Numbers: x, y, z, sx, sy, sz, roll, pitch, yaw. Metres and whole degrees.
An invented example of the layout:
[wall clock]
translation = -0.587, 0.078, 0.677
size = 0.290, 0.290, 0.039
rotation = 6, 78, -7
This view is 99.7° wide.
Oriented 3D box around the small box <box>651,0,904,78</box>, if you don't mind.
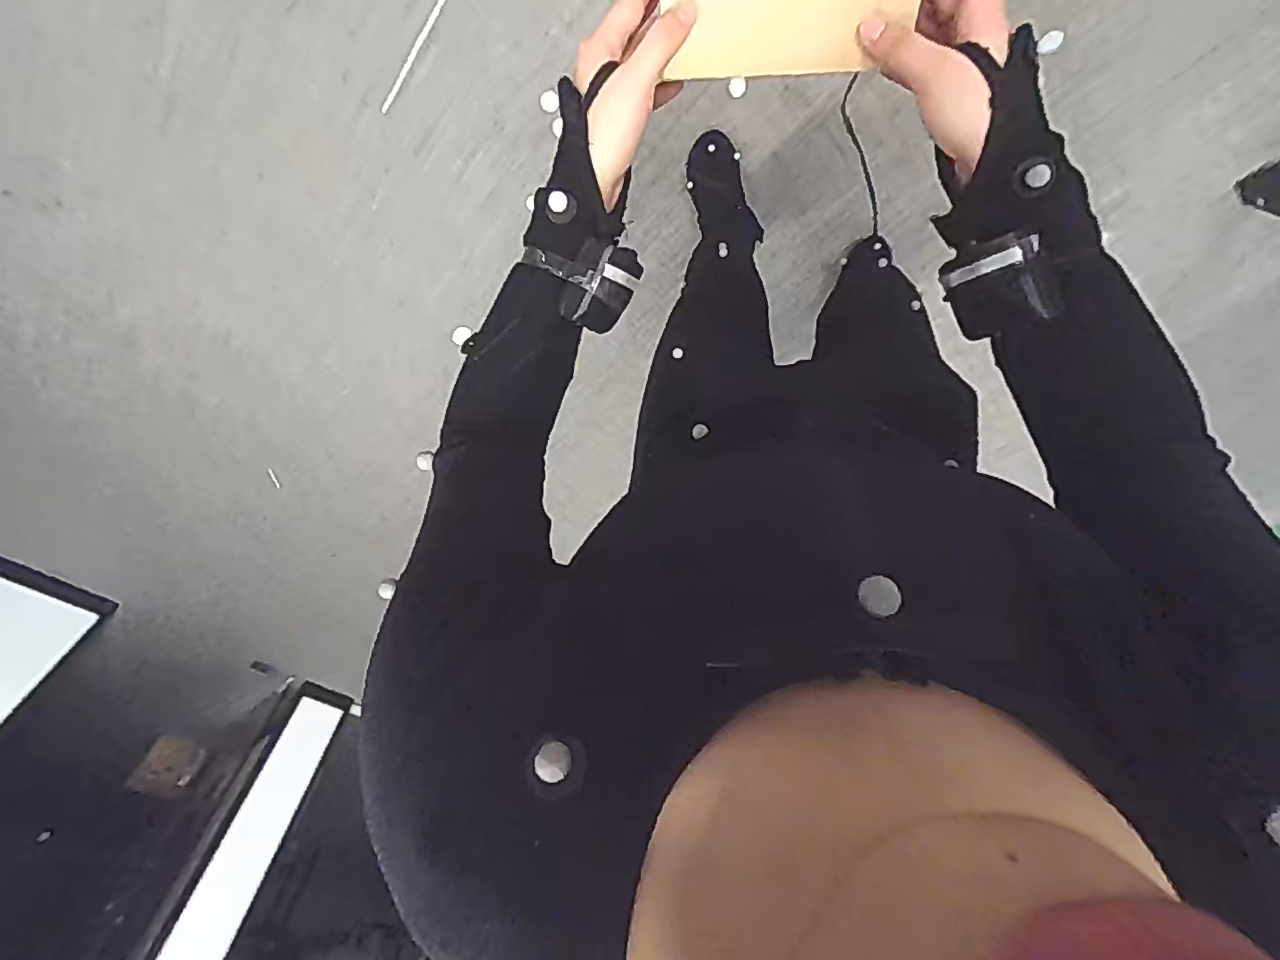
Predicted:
[small box]
translation = 0.093, -0.400, 0.383
size = 0.168, 0.176, 0.179
rotation = 0, 128, 4
